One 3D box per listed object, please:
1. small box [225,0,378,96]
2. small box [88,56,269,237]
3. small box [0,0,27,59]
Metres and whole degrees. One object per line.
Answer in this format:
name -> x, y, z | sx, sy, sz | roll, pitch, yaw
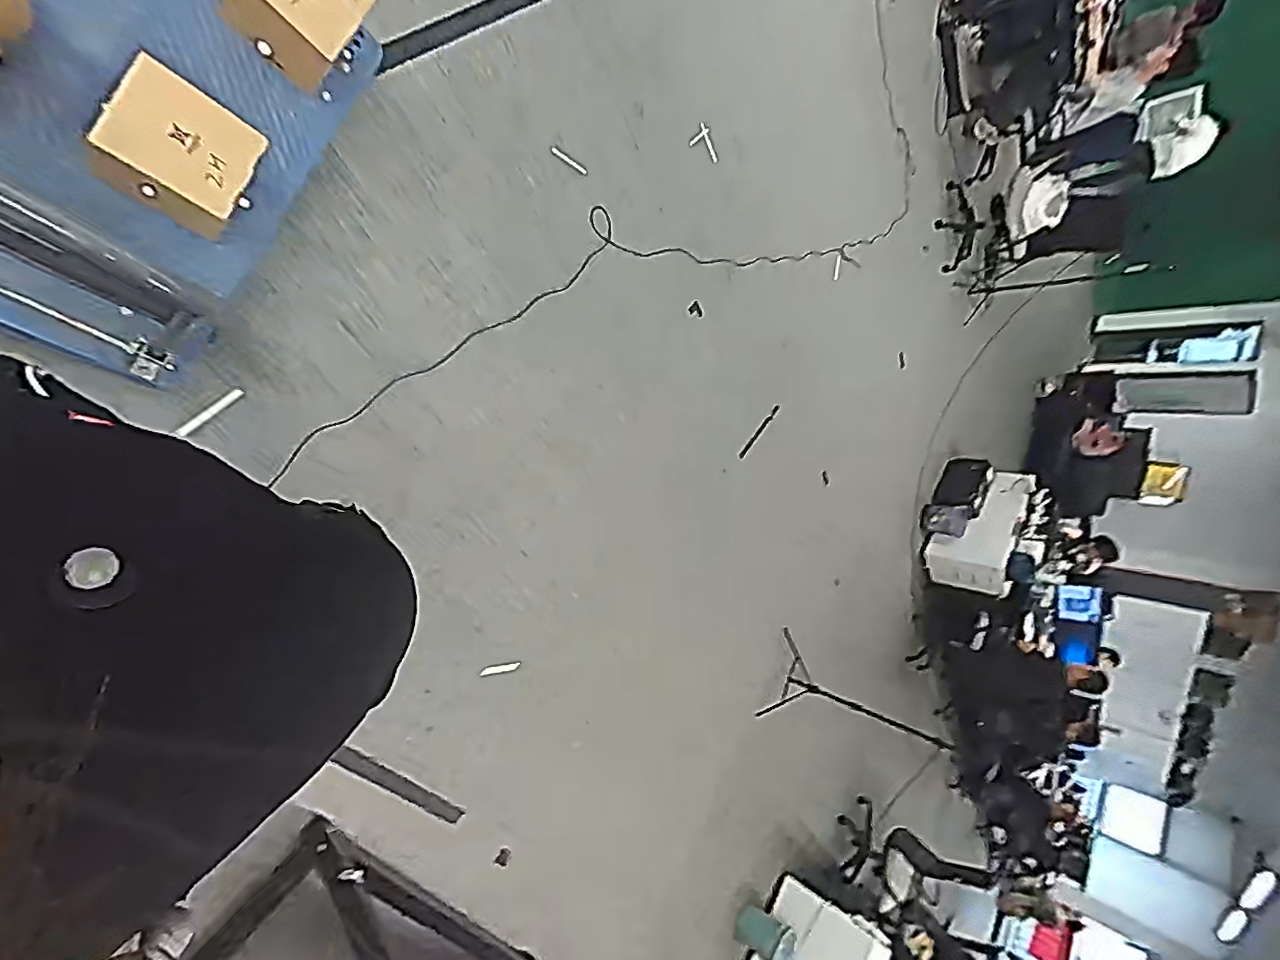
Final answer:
small box -> -0.629, -0.869, 0.998 | 0.168, 0.176, 0.179 | 35, 73, -41
small box -> -0.771, -0.540, 0.909 | 0.179, 0.176, 0.168 | 29, 76, -42
small box -> -0.967, -0.661, 0.701 | 0.179, 0.176, 0.168 | 38, 69, -42
